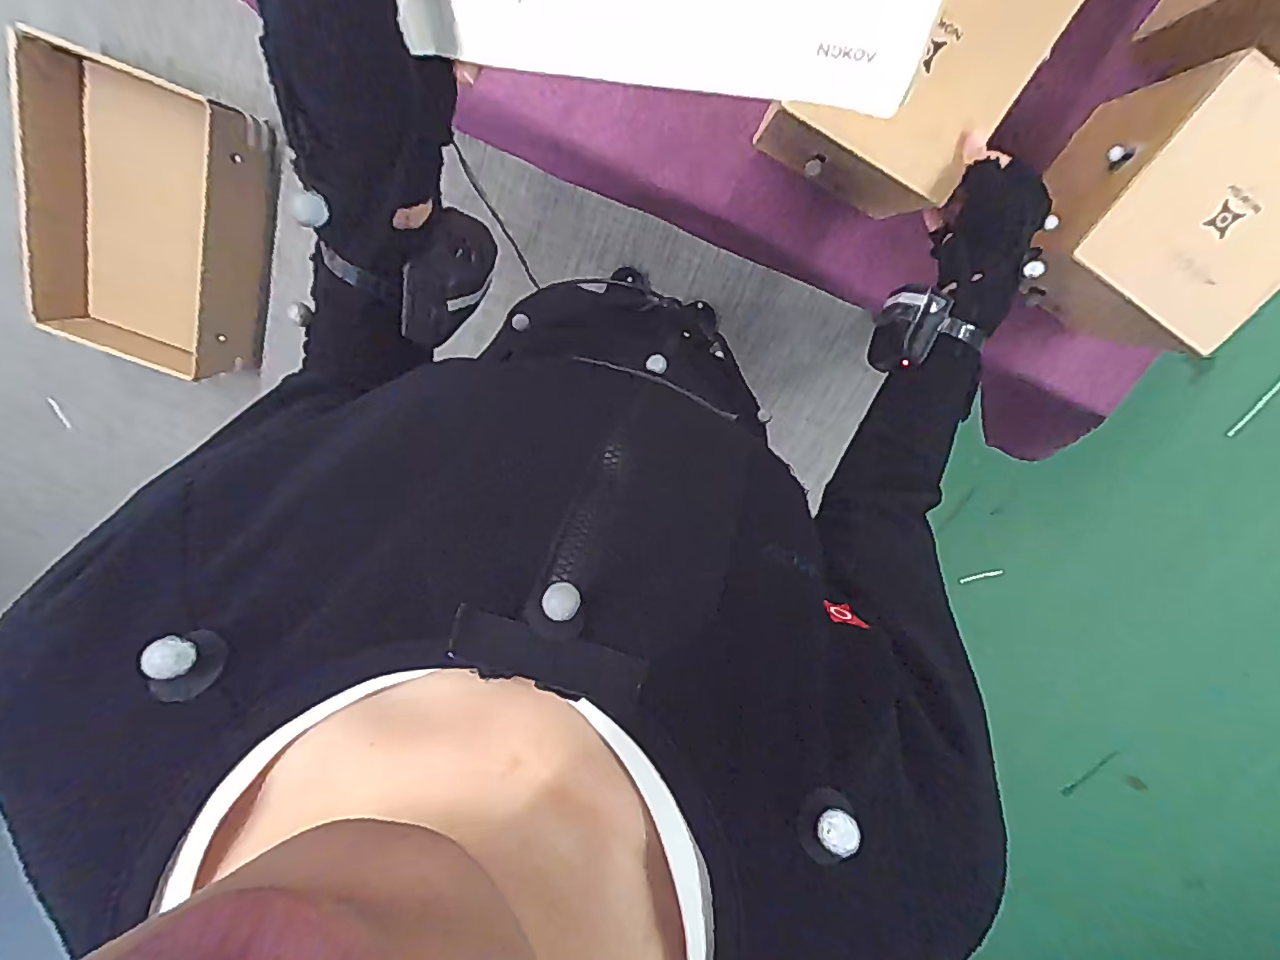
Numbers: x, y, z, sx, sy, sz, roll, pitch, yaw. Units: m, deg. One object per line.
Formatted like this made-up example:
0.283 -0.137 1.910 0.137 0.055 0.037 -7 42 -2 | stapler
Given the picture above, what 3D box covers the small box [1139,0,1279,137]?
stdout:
0.591 -0.427 0.444 0.168 0.176 0.179 29 110 -8 | small box
